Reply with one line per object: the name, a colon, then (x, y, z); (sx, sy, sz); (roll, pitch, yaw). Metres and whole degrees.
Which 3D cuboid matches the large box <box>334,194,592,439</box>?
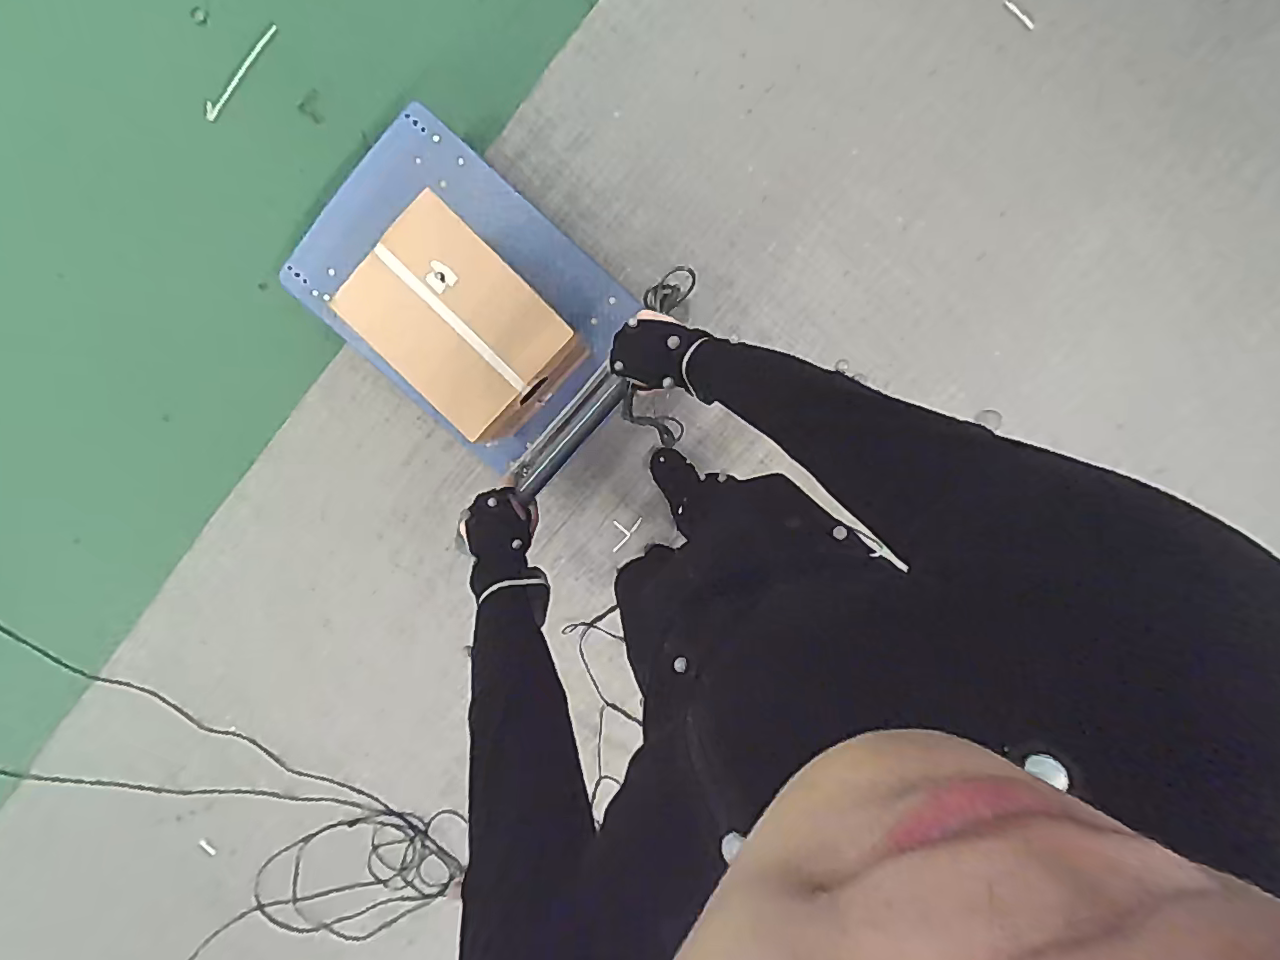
large box: (-0.370, -0.342, 1.237); (0.408, 0.320, 0.320); (45, 96, -3)
